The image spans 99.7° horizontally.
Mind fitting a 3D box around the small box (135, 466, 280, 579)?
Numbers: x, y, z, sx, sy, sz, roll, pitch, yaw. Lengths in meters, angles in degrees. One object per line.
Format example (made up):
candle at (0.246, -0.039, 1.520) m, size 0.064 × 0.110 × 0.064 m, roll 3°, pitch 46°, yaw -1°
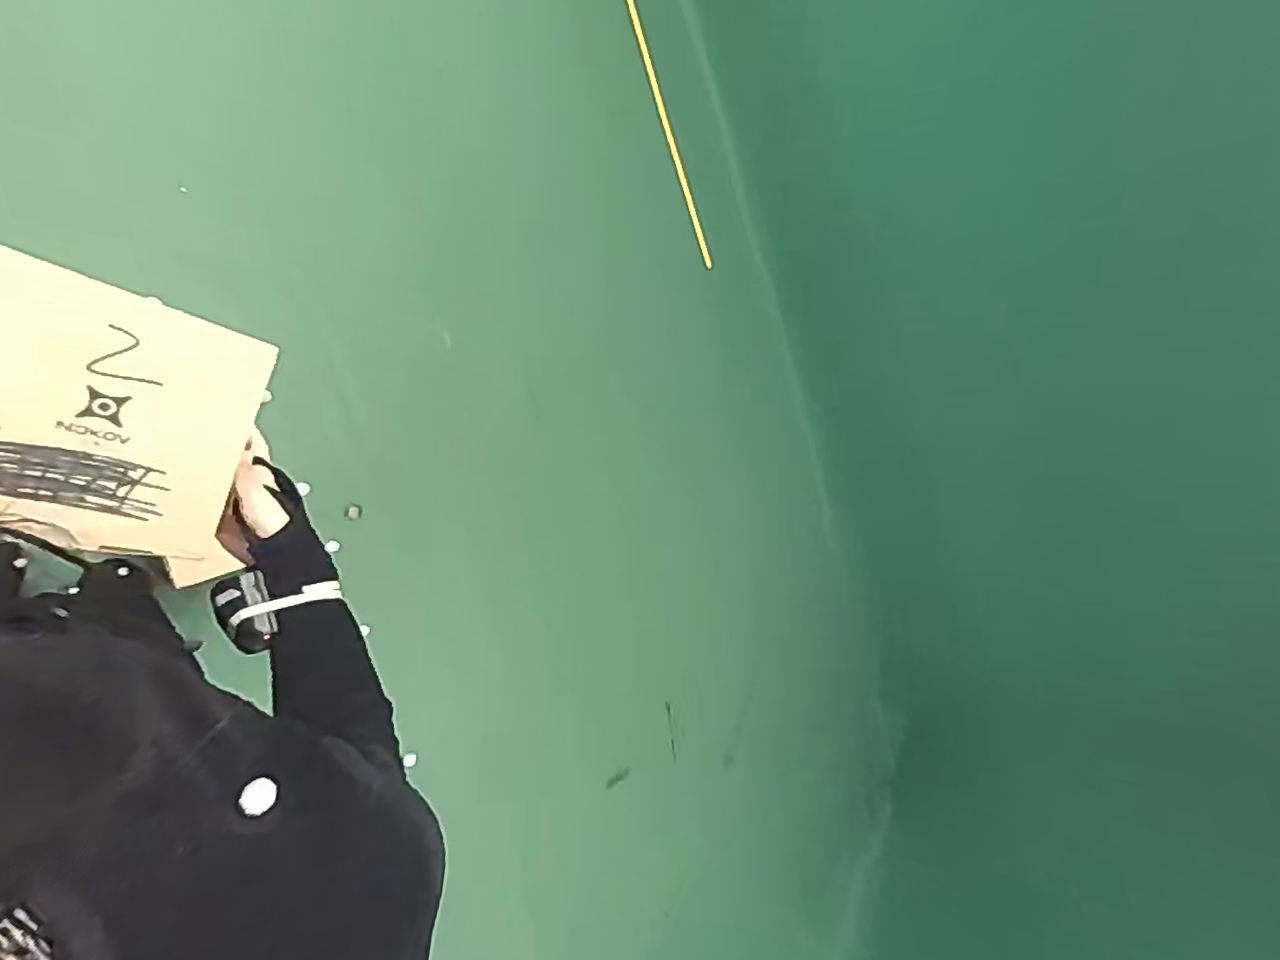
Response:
small box at (-0.824, 0.077, 1.029) m, size 0.179 × 0.176 × 0.168 m, roll -20°, pitch 98°, yaw -42°
